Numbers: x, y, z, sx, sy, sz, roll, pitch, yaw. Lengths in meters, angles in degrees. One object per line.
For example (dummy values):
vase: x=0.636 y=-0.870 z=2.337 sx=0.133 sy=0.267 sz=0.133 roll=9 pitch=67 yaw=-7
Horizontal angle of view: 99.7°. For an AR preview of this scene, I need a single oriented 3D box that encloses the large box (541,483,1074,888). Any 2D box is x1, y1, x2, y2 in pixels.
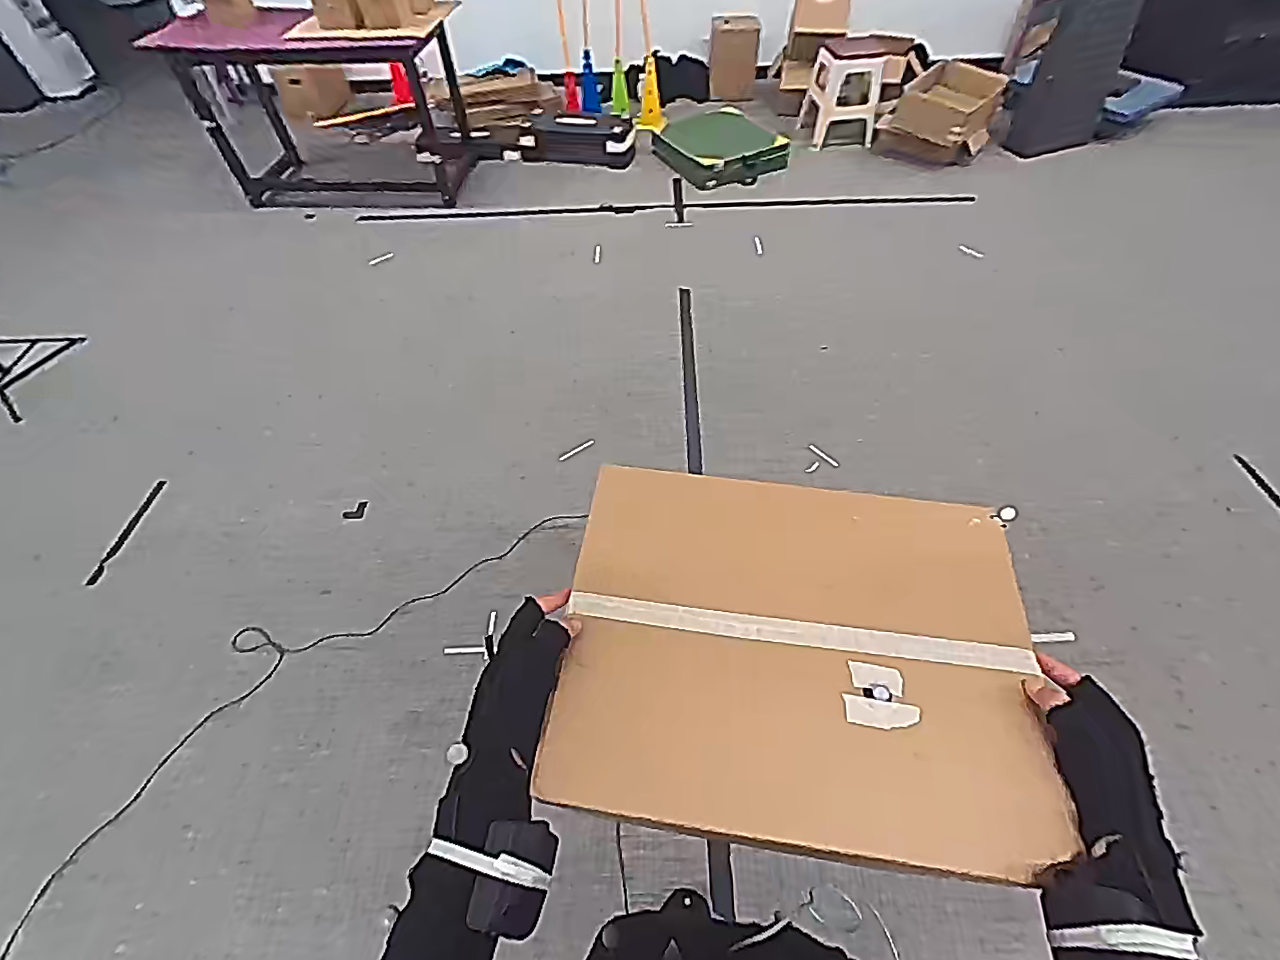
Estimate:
large box: x=0.136 y=0.229 z=0.607 sx=0.408 sy=0.320 sz=0.320 roll=6 pitch=58 yaw=5
